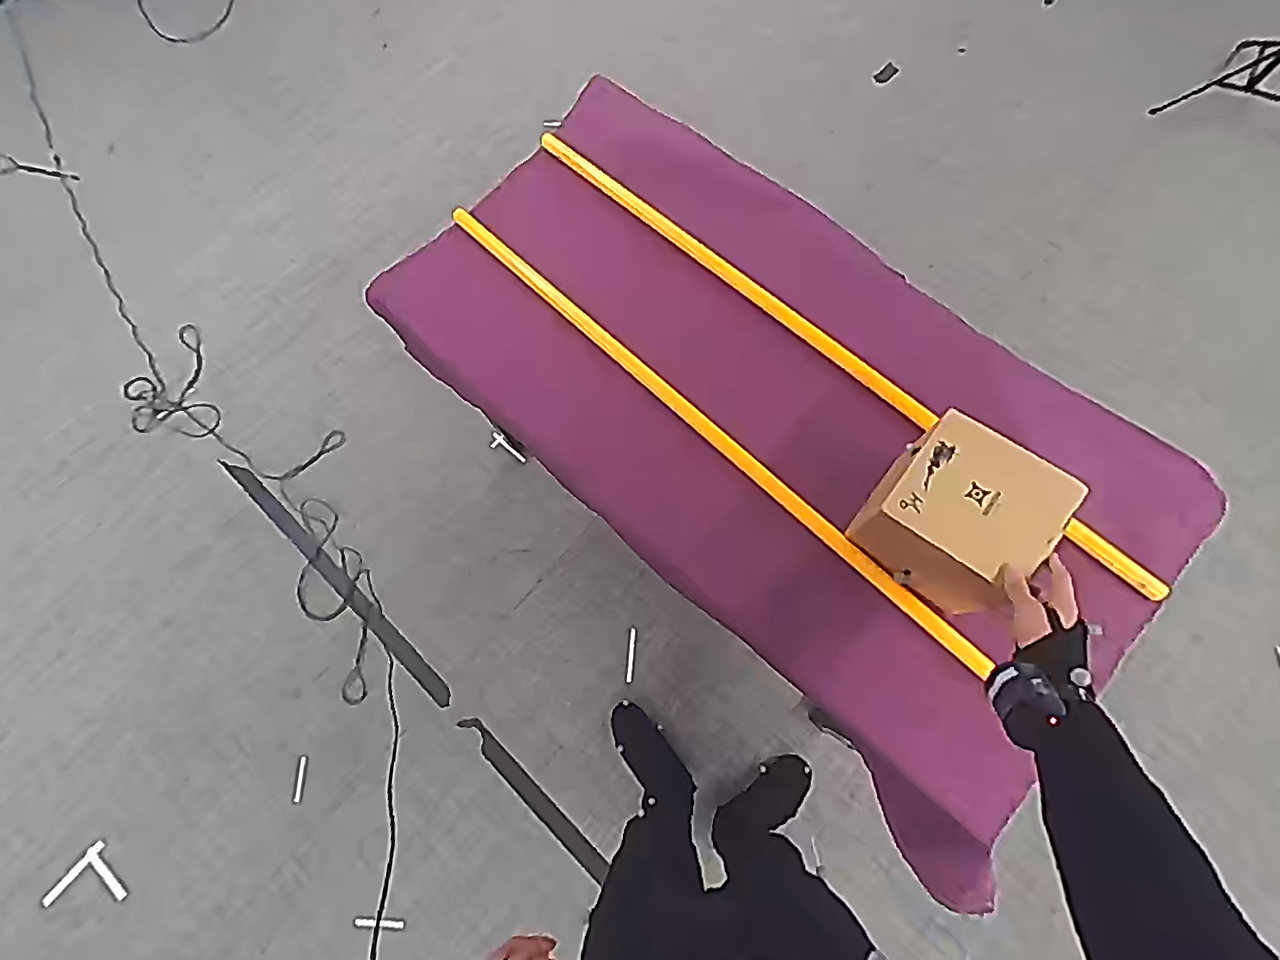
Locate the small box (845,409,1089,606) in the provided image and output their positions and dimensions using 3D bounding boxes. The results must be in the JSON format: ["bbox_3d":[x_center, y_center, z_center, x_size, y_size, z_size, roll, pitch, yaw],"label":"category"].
[{"bbox_3d":[0.400,0.046,0.696,0.179,0.176,0.168,37,79,14],"label":"small box"}]
